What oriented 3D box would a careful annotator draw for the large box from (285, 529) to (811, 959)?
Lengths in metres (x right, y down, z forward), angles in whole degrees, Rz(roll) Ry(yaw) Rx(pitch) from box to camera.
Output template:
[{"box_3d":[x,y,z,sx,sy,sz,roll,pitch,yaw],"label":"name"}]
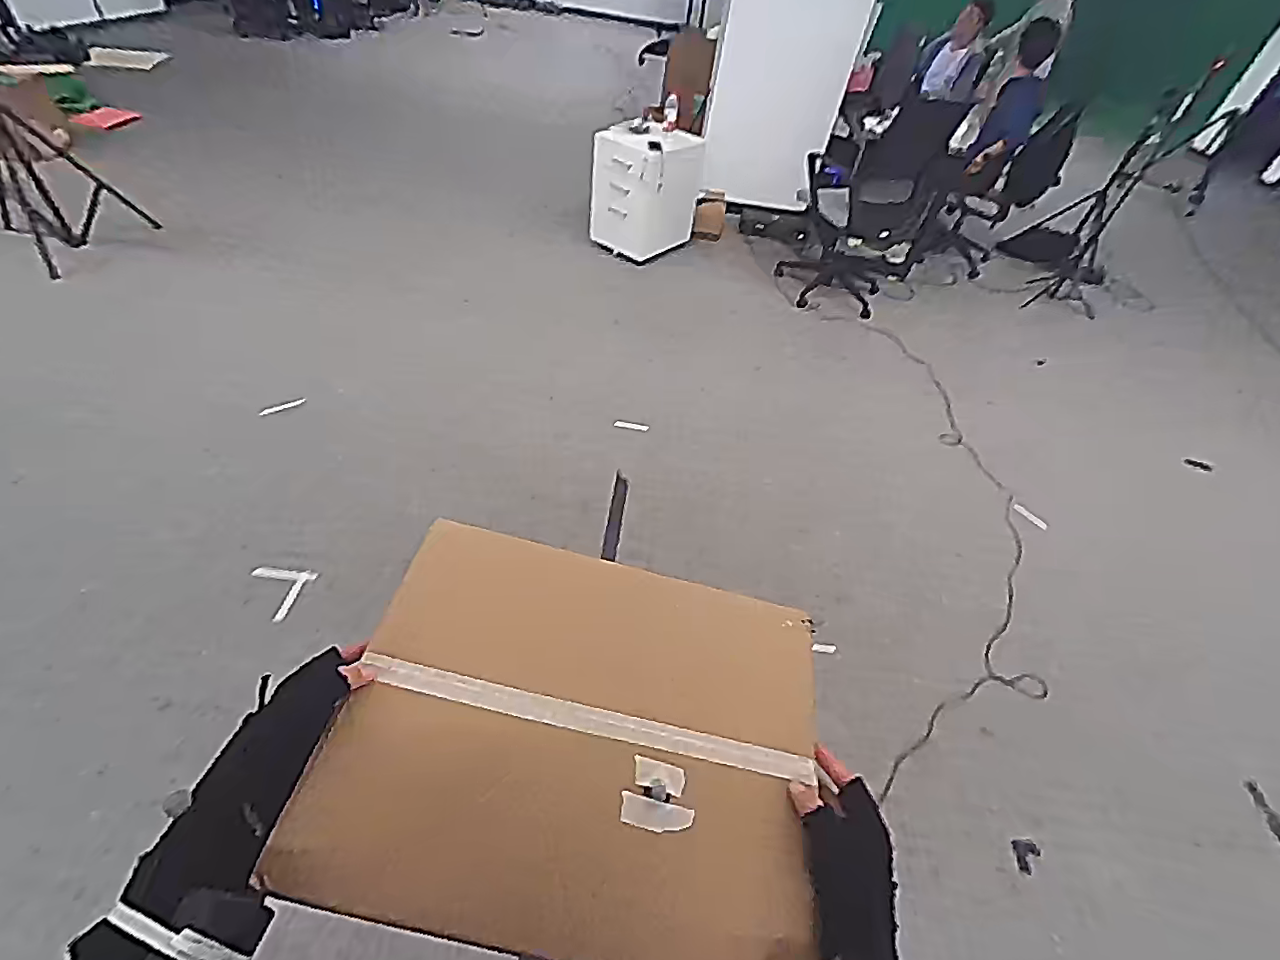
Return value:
[{"box_3d":[-0.070,0.302,0.601,0.408,0.320,0.320,15,52,-2],"label":"large box"}]
